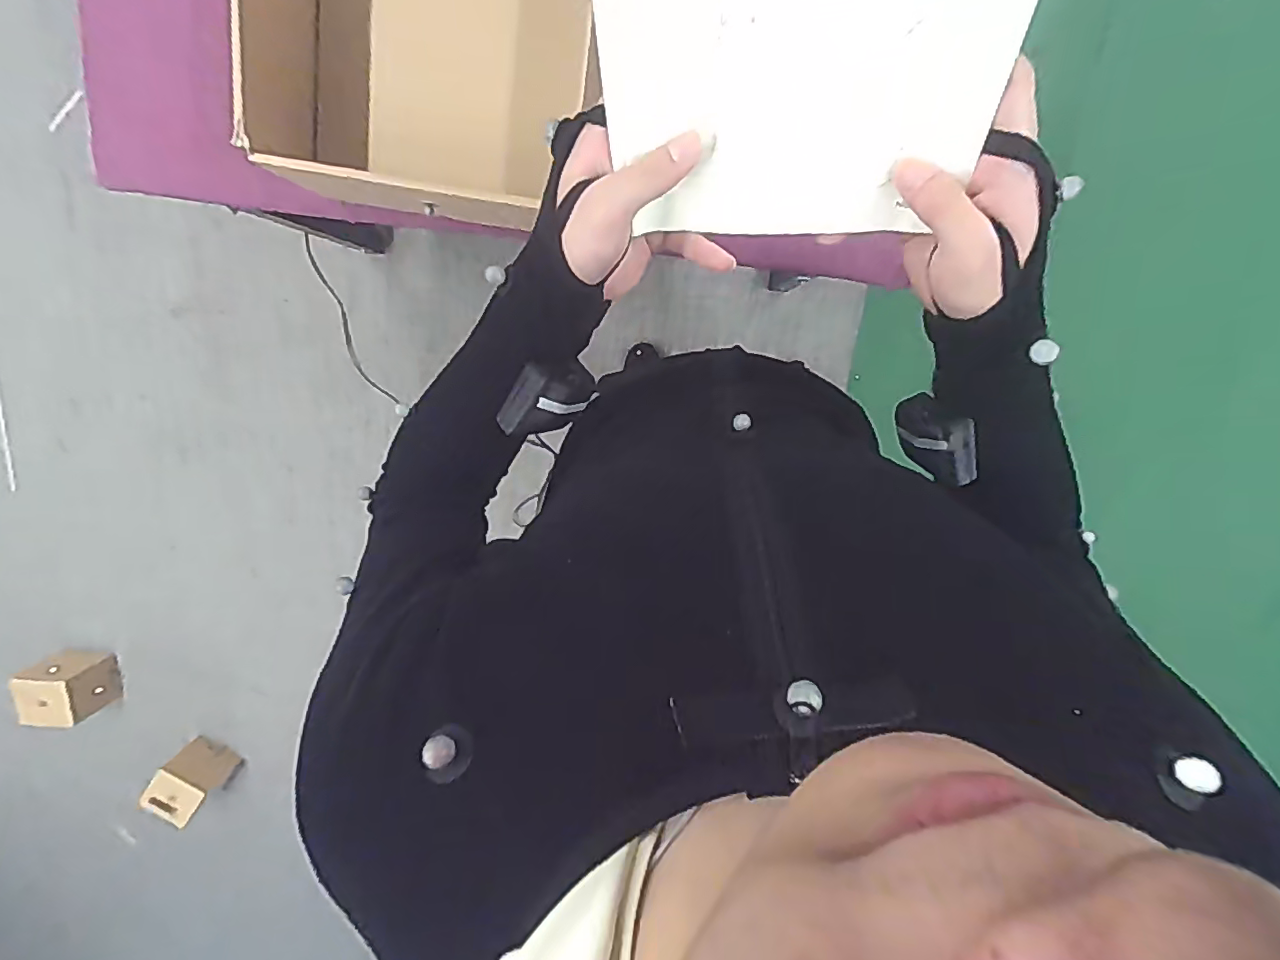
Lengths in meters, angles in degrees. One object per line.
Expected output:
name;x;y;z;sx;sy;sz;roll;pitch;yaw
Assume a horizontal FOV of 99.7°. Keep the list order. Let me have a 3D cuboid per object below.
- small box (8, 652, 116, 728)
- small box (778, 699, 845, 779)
small box;-1.861;0.677;1.756;0.179;0.176;0.168;4;102;1
small box;0.540;0.814;1.718;0.168;0.176;0.179;-4;103;2
